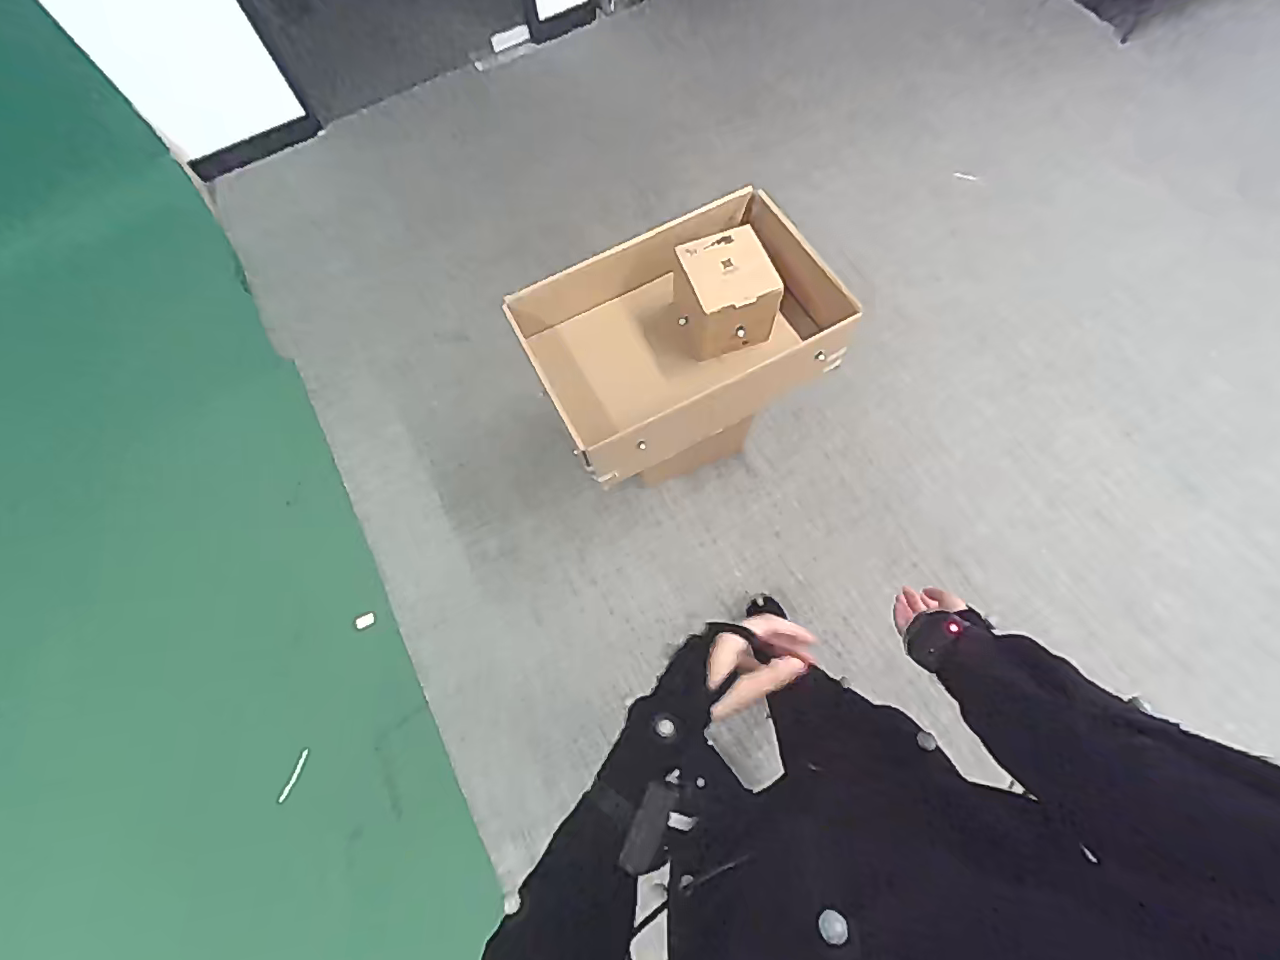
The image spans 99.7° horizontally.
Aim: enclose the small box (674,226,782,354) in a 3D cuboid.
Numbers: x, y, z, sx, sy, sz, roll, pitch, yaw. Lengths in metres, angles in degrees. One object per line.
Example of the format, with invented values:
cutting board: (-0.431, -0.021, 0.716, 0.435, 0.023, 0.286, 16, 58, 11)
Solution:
small box: (0.175, -0.386, 1.131, 0.168, 0.176, 0.179, -18, 70, -5)
